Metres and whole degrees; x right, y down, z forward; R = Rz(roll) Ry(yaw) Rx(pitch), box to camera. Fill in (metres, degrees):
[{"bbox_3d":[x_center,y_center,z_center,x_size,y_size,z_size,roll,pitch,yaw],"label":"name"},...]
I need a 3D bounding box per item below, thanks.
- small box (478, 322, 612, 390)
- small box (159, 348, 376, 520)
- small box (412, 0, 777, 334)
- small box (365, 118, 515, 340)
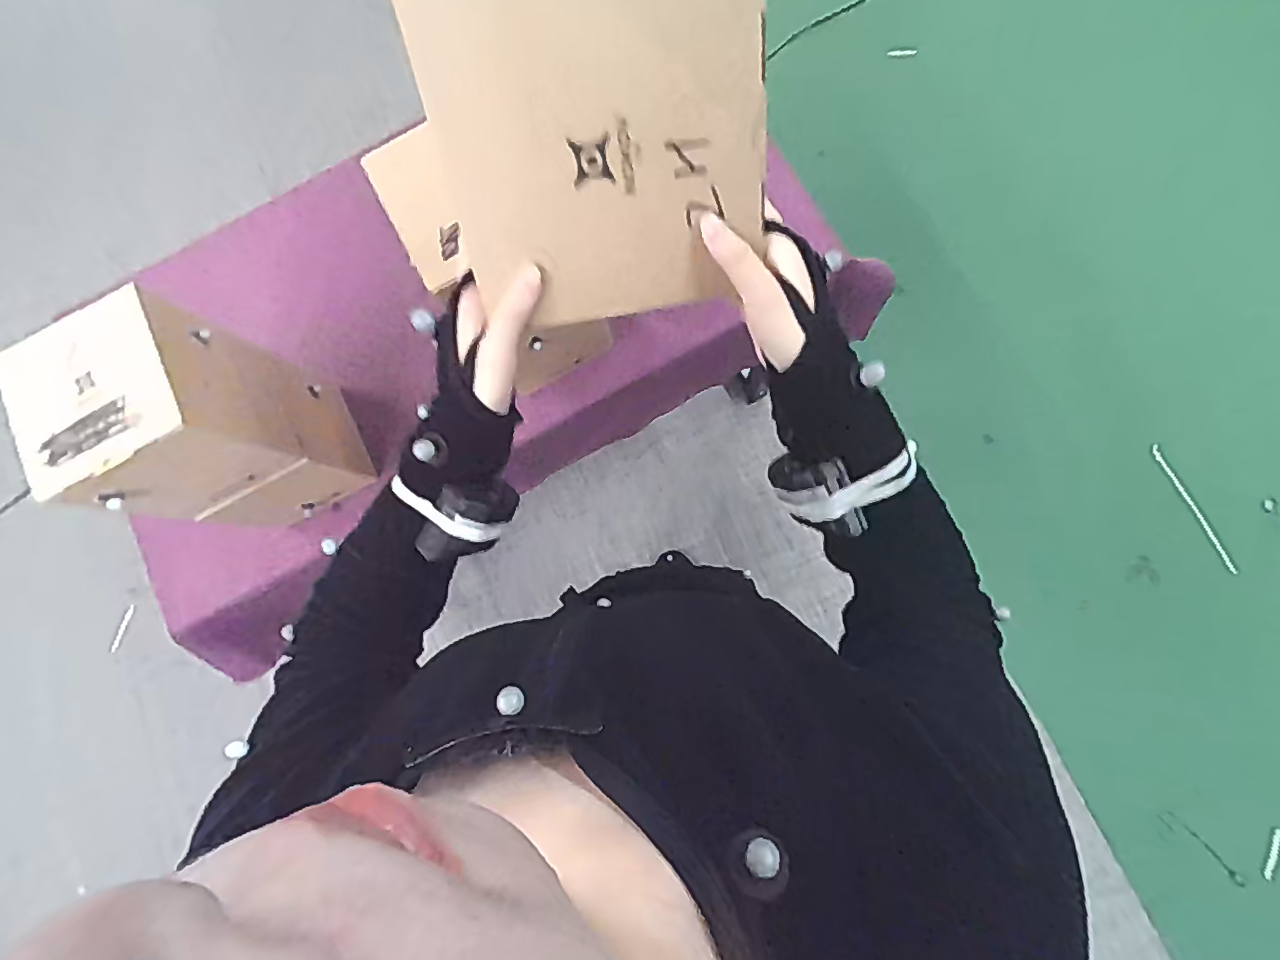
[{"bbox_3d":[-0.158,-0.260,0.788,0.168,0.176,0.179,-29,80,1],"label":"small box"},{"bbox_3d":[-0.525,-0.055,0.785,0.168,0.176,0.179,-28,82,0],"label":"small box"},{"bbox_3d":[-0.020,-0.215,0.361,0.179,0.168,0.176,-8,37,-1],"label":"small box"},{"bbox_3d":[-0.169,-0.286,0.626,0.168,0.176,0.179,-29,80,0],"label":"small box"}]
